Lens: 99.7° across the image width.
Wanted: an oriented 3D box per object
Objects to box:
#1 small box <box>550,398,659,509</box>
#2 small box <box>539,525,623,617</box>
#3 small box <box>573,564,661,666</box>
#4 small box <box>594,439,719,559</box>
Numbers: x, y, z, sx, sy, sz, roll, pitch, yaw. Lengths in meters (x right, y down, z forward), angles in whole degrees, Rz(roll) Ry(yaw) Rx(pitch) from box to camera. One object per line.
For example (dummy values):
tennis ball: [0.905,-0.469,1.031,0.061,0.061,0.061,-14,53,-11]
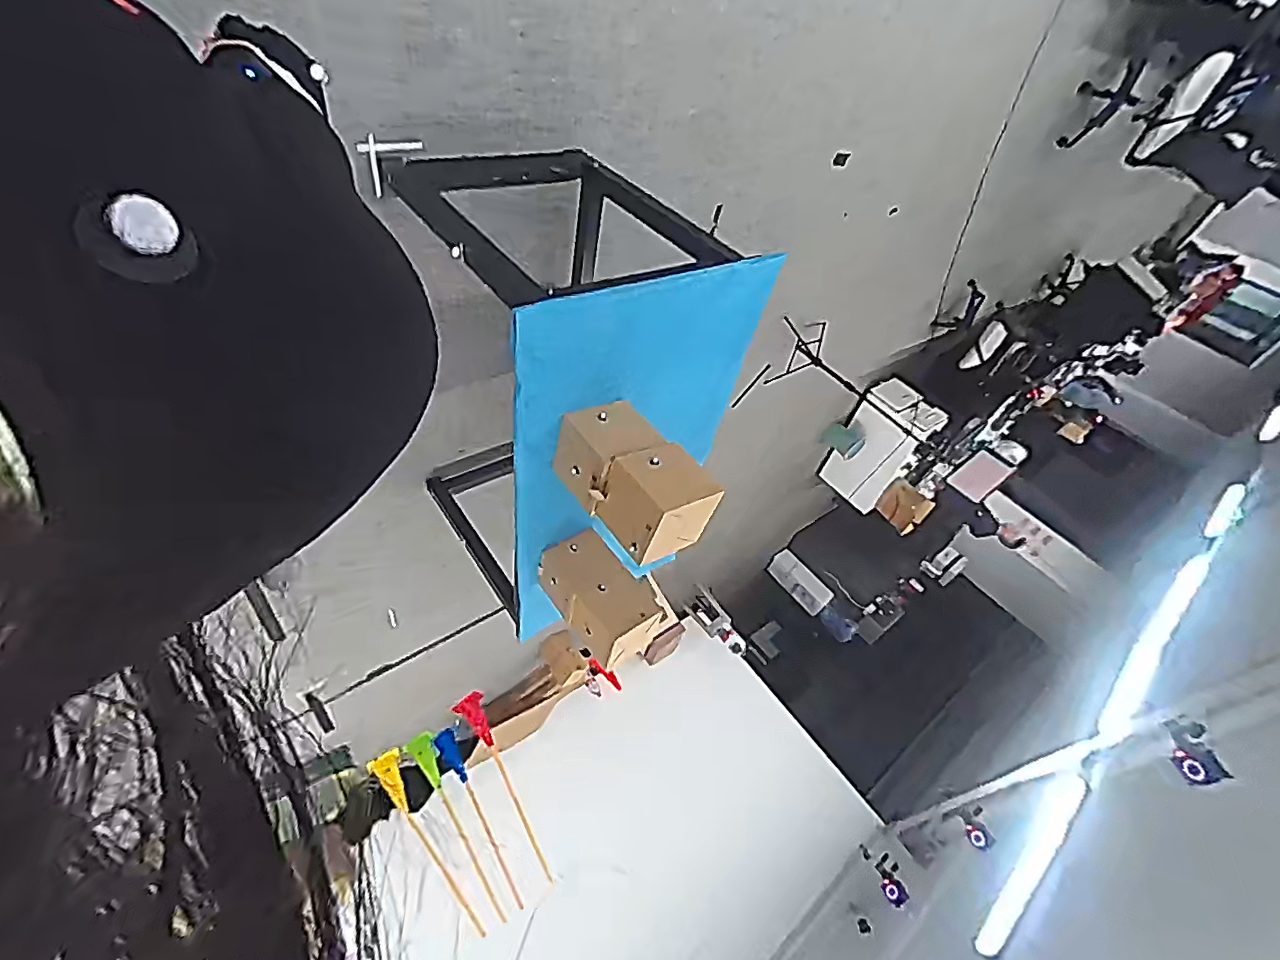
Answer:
small box: [-0.078,-0.056,1.220,0.179,0.176,0.168,-21,146,-36]
small box: [-0.171,0.267,1.549,0.179,0.176,0.168,-26,148,-32]
small box: [-0.066,0.373,1.482,0.168,0.176,0.179,-26,145,-34]
small box: [0.033,0.041,1.146,0.179,0.176,0.168,-17,143,-38]
